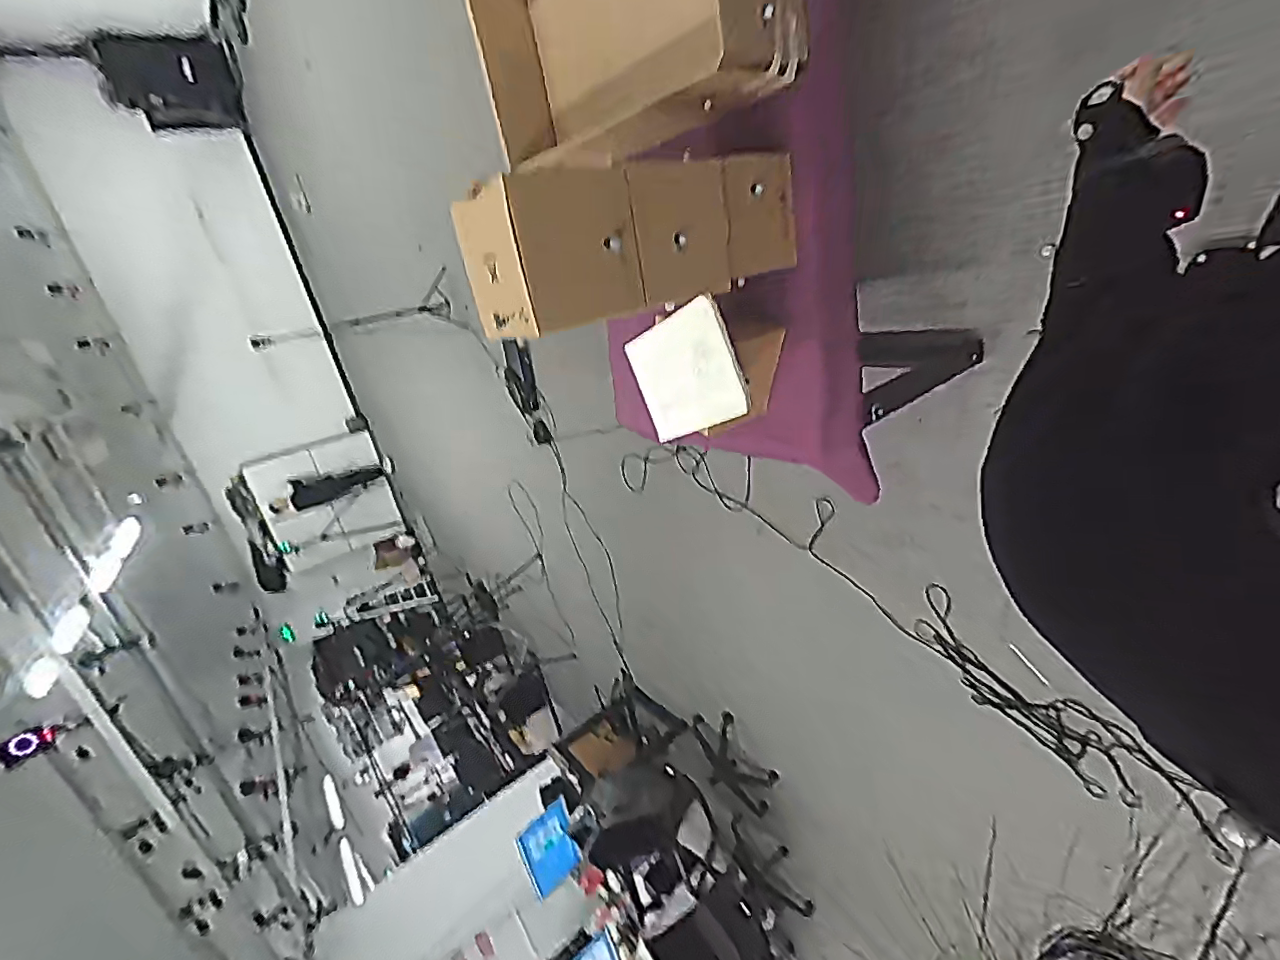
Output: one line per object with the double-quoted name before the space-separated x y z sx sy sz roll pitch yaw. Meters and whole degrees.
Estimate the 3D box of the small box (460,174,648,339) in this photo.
"small box" -0.110 -0.290 0.714 0.168 0.176 0.179 18 124 52

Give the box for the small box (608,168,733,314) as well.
"small box" 0.018 -0.347 0.799 0.168 0.176 0.179 18 126 51
